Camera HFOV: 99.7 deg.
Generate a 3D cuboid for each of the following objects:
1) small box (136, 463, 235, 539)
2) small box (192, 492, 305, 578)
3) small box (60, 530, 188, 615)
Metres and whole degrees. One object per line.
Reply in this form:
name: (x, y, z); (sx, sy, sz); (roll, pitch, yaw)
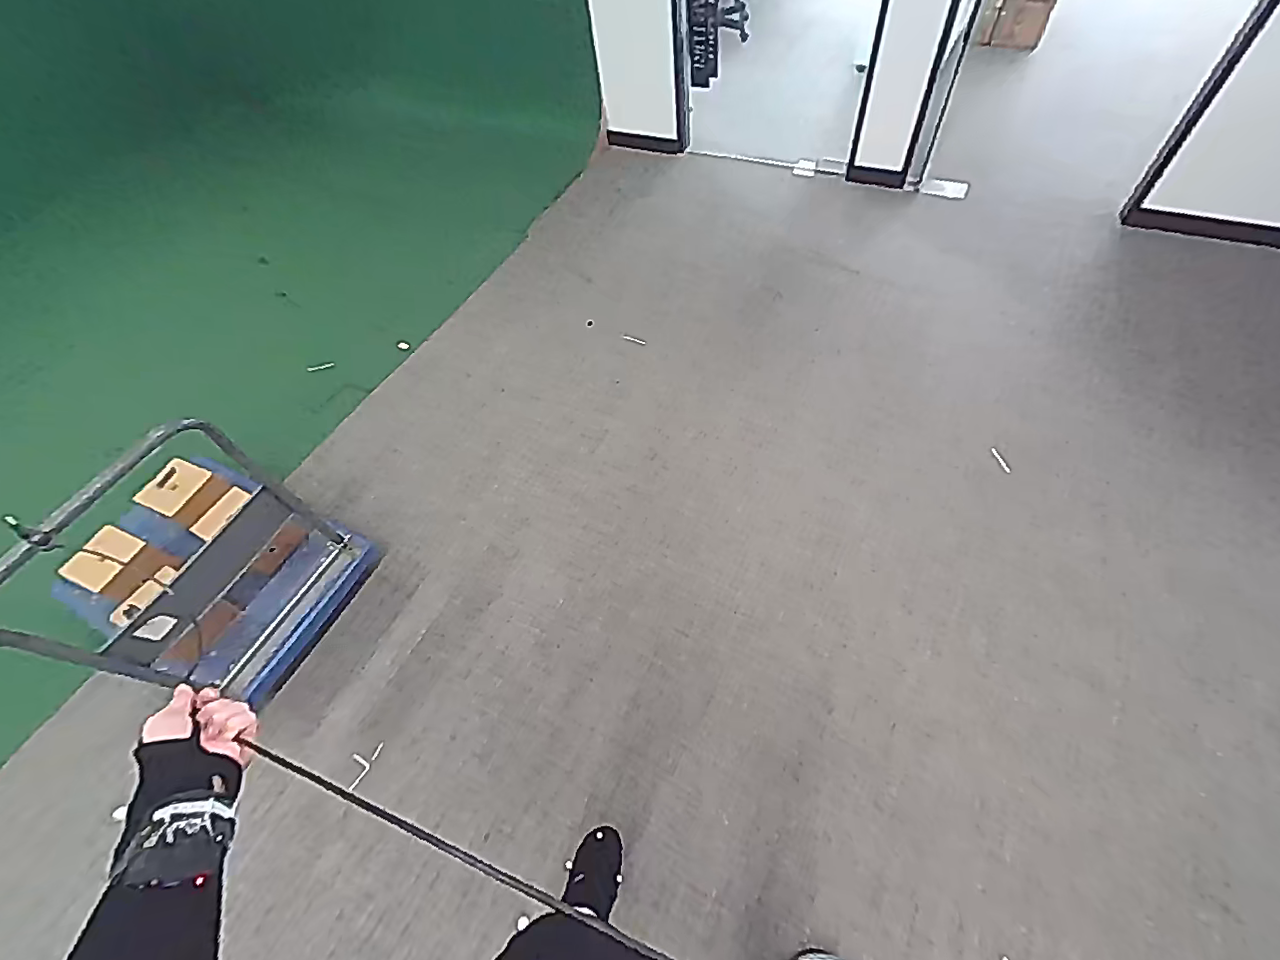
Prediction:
small box: (-1.396, 0.078, 1.700); (0.179, 0.176, 0.168); (18, 61, 16)
small box: (-1.158, 0.169, 1.612); (0.179, 0.176, 0.168); (22, 62, 19)
small box: (-1.495, 0.276, 1.580); (0.179, 0.176, 0.168); (17, 60, 17)
